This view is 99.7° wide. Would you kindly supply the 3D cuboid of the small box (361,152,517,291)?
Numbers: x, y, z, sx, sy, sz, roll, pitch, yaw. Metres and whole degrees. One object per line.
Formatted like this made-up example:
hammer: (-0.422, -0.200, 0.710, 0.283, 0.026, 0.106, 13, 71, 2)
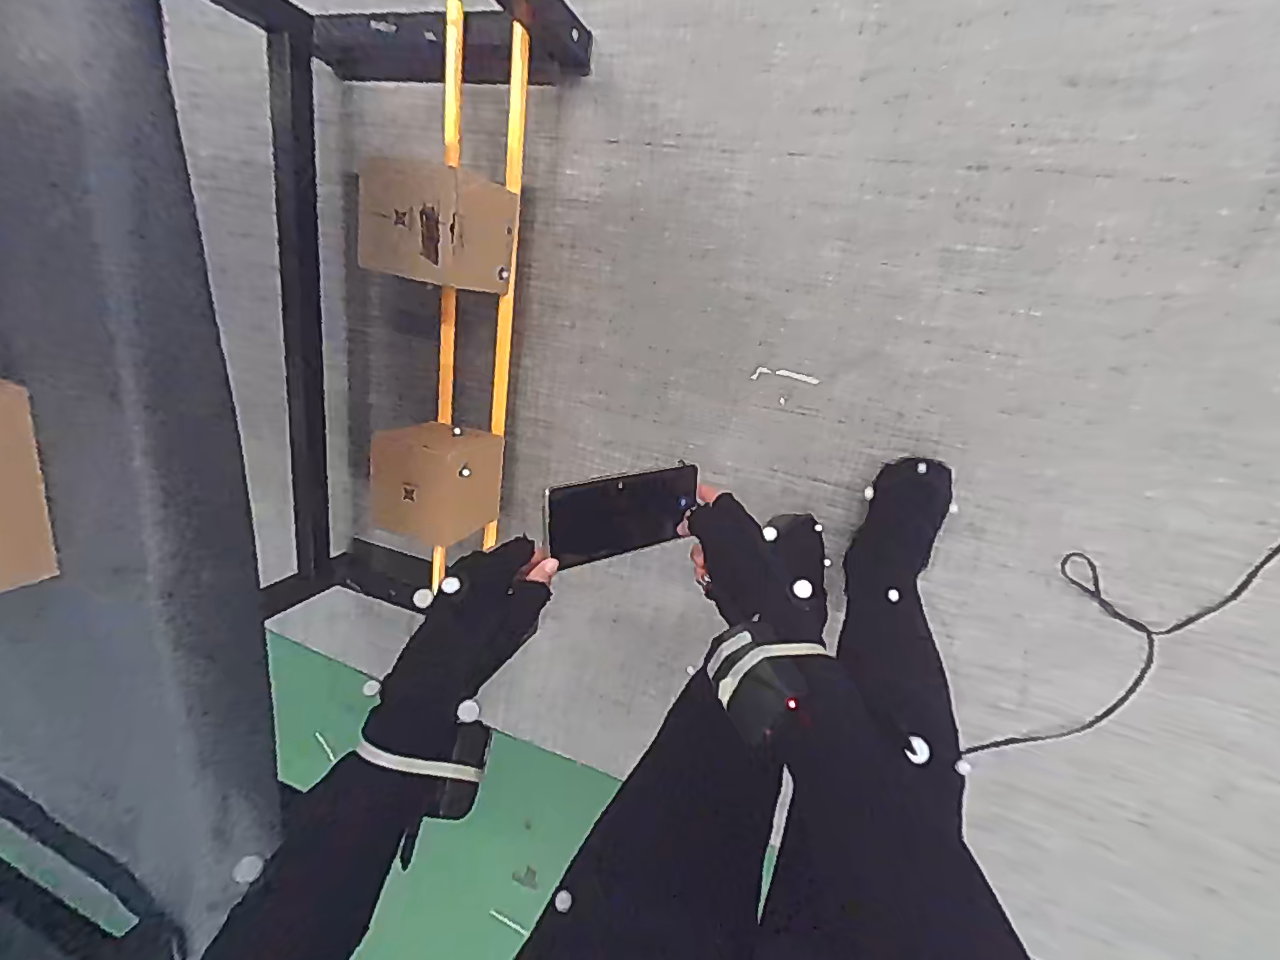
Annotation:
small box: (-0.322, -0.412, 0.886, 0.179, 0.176, 0.168, 17, 109, 15)
